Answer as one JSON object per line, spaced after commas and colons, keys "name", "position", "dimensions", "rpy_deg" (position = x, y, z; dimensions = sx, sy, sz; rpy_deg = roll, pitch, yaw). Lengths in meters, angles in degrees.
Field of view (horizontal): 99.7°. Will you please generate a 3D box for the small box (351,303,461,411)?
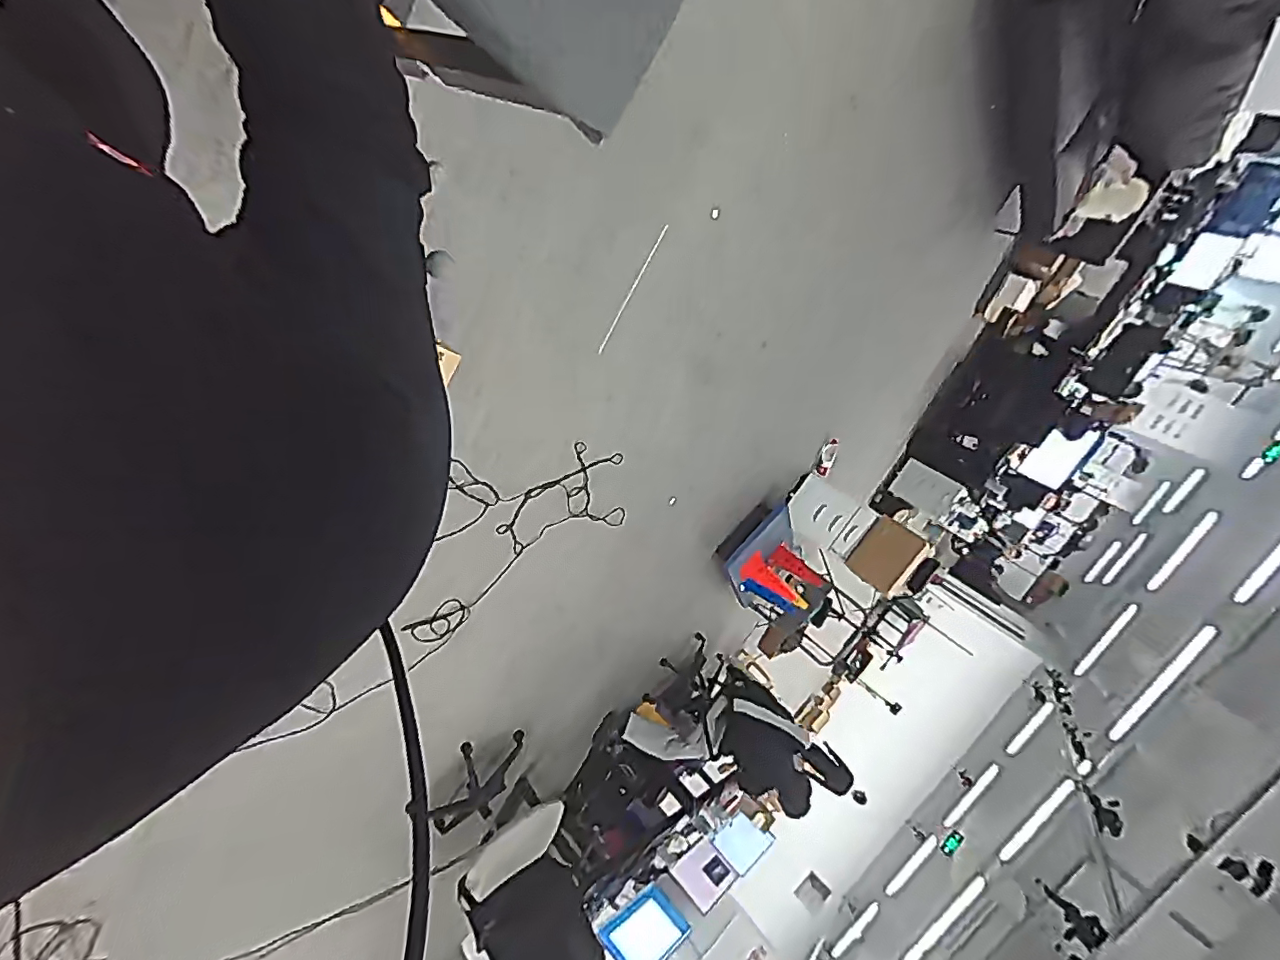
{"name": "small box", "position": [-0.584, -0.303, 1.339], "dimensions": [0.179, 0.176, 0.168], "rpy_deg": [-56, 147, 10]}
